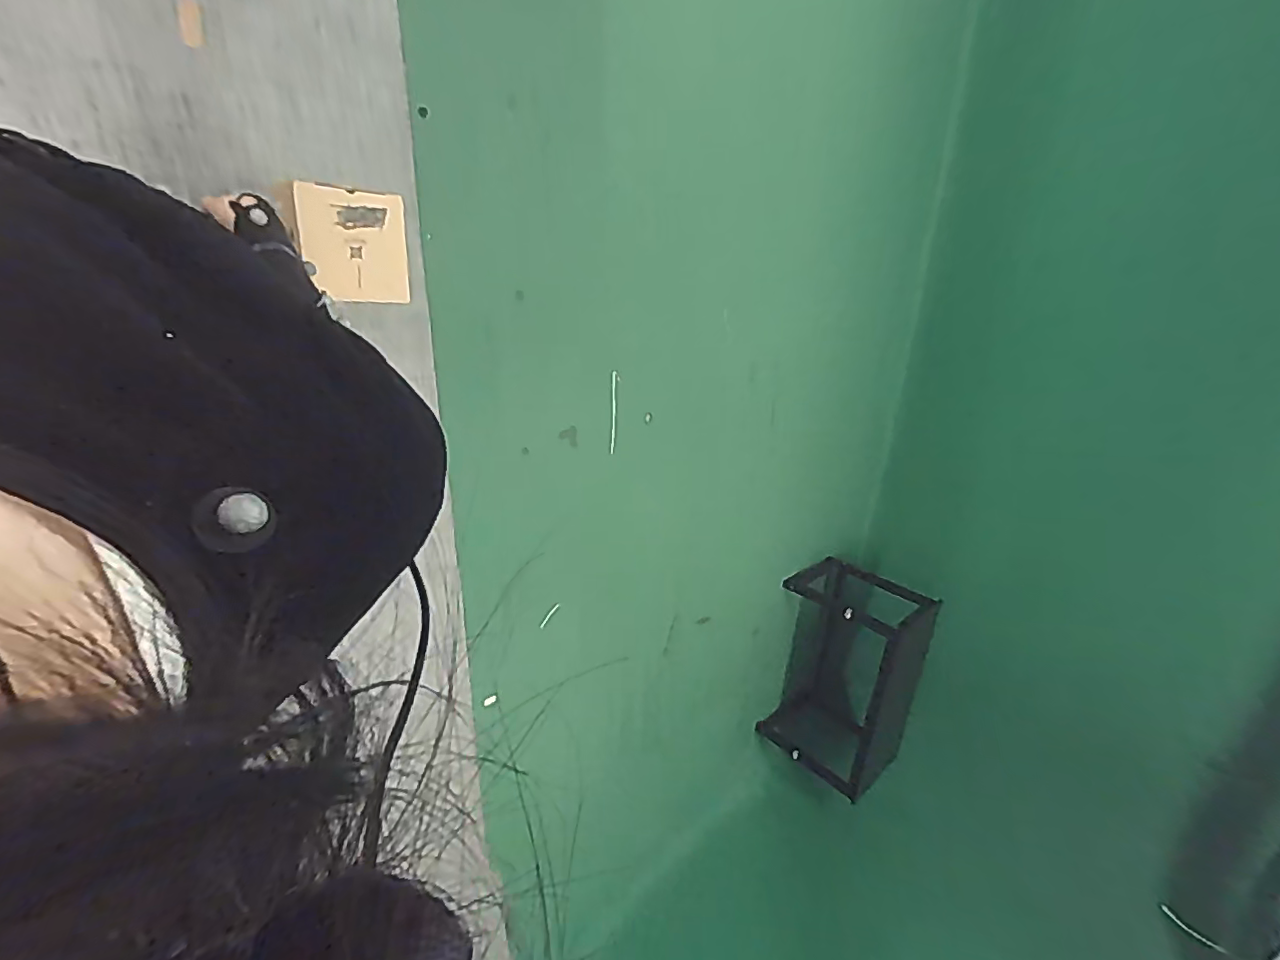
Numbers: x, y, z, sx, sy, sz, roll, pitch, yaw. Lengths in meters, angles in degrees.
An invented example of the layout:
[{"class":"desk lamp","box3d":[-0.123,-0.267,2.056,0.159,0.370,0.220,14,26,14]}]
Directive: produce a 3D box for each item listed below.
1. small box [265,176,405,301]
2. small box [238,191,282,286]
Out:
[{"class":"small box","box3d":[-0.528,-0.411,0.939,0.168,0.176,0.179,-14,118,-42]},{"class":"small box","box3d":[-0.751,-0.502,1.164,0.179,0.176,0.168,-3,110,-44]}]
